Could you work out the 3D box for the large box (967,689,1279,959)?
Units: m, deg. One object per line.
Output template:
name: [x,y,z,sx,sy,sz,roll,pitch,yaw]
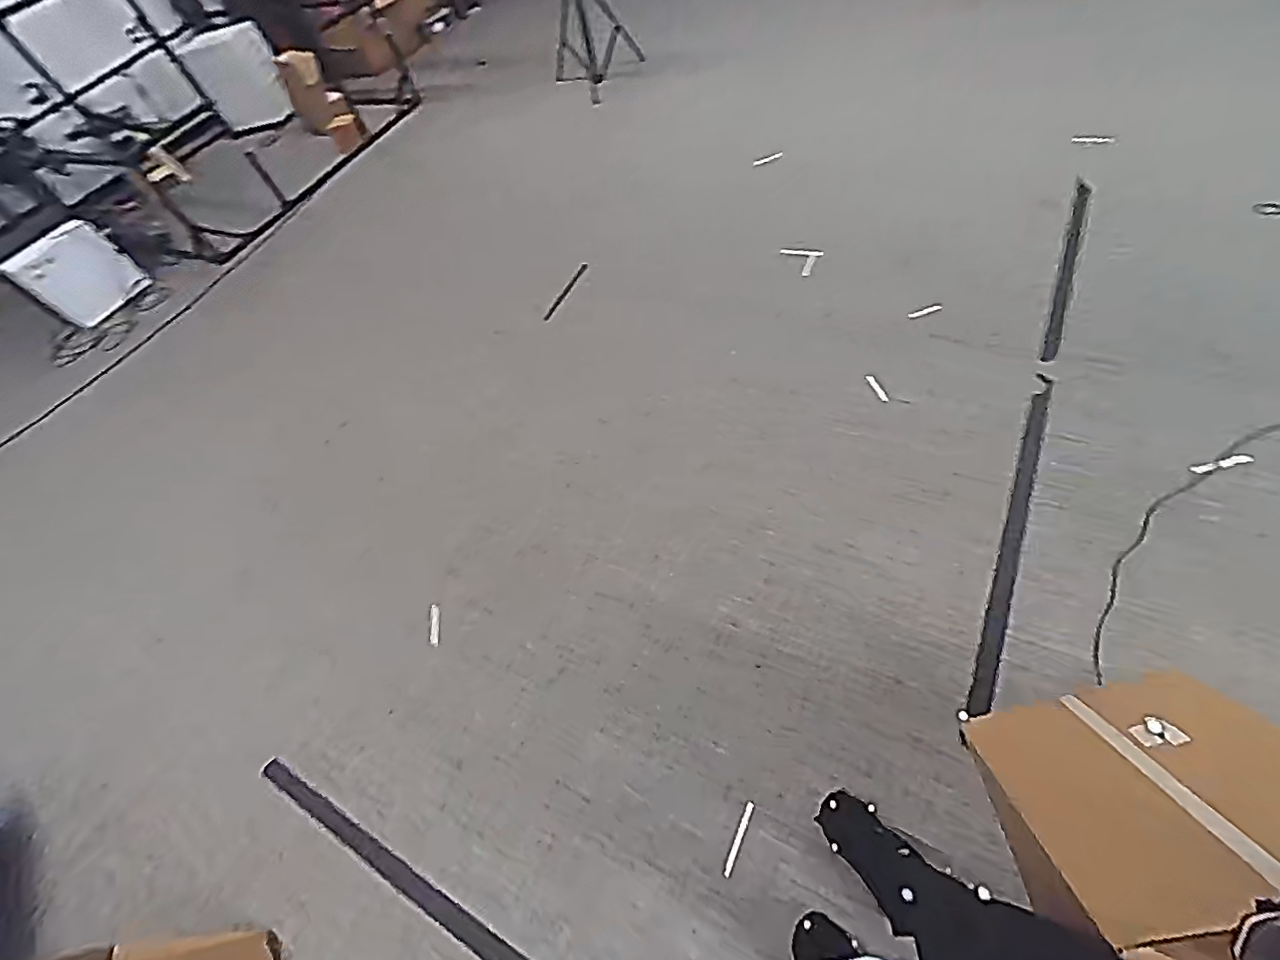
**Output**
large box: [0.669,0.509,0.635,0.320,0.408,0.320,-20,88,14]
